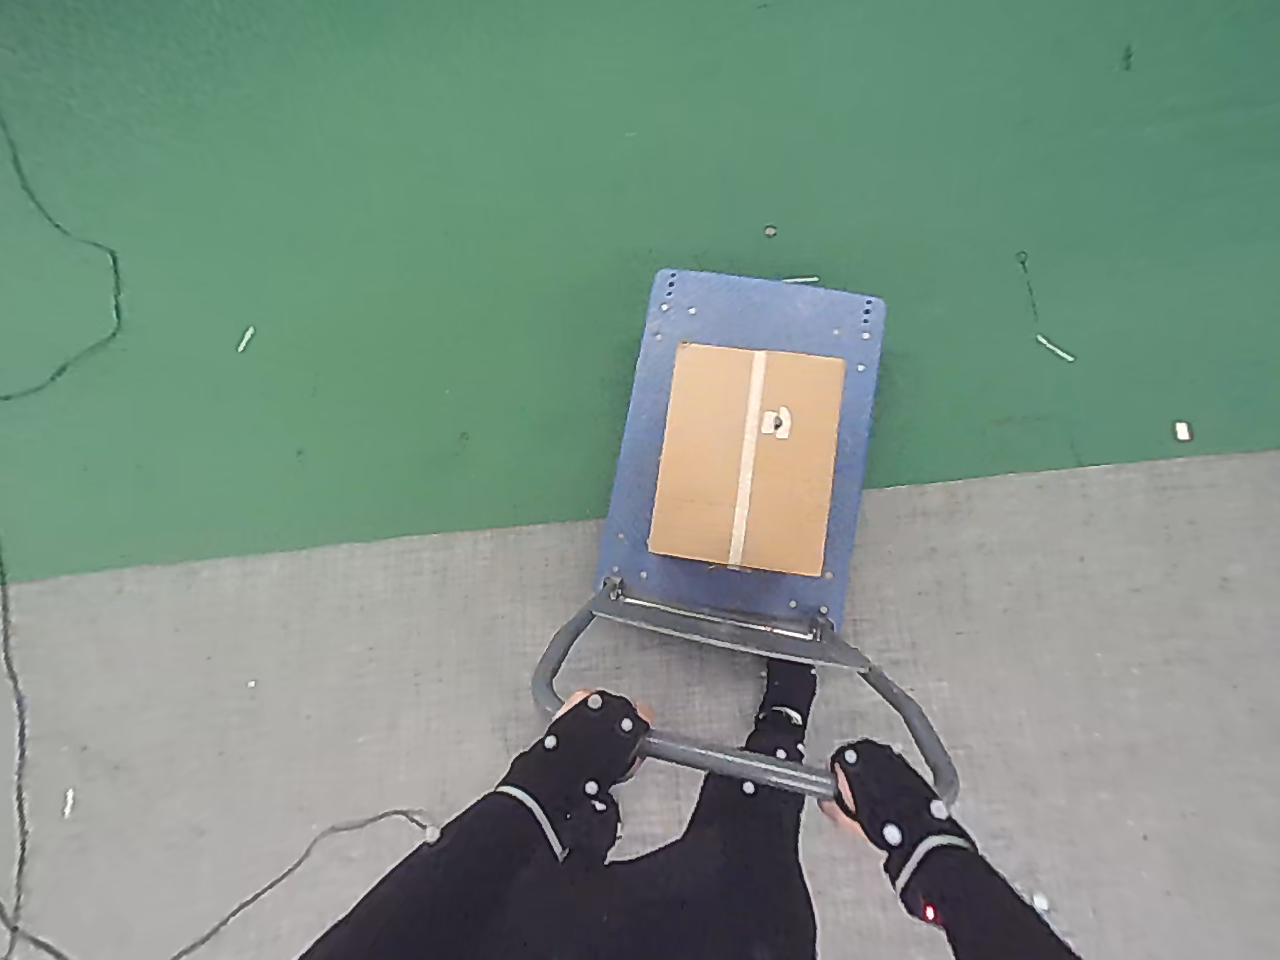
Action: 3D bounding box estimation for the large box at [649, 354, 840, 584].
[{"bbox_3d":[0.208,-0.009,1.142,0.320,0.320,0.408,8,85,6],"label":"large box"}]
